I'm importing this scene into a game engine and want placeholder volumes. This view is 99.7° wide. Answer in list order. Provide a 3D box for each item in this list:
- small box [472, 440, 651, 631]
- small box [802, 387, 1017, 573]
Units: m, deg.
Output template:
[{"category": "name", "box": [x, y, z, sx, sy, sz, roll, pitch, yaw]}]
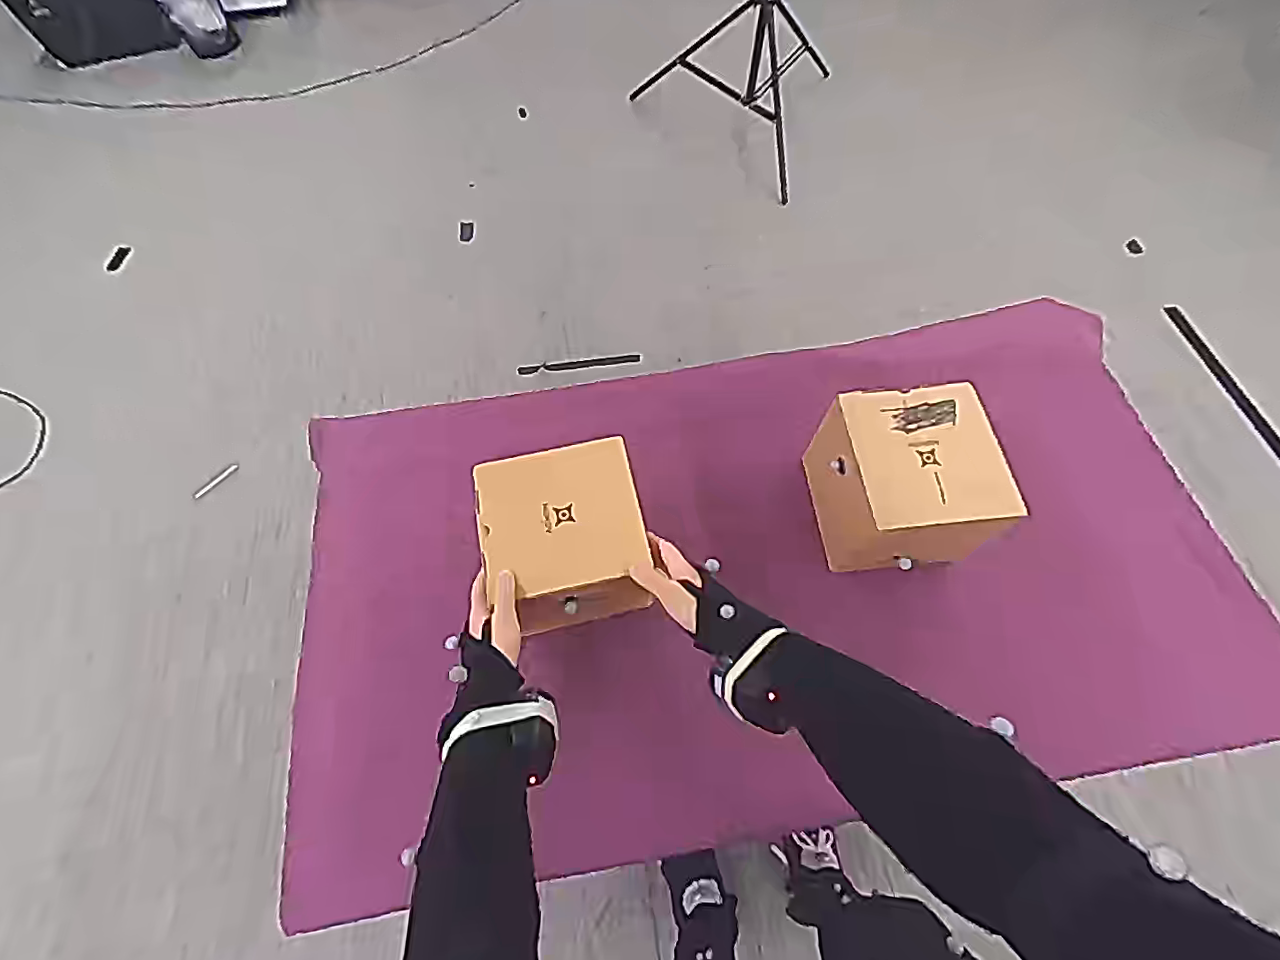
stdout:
[{"category": "small box", "box": [-0.089, 0.075, 0.662, 0.179, 0.176, 0.168, -12, 65, -4]}, {"category": "small box", "box": [0.319, 0.006, 0.686, 0.168, 0.176, 0.179, -5, 65, -1]}]
